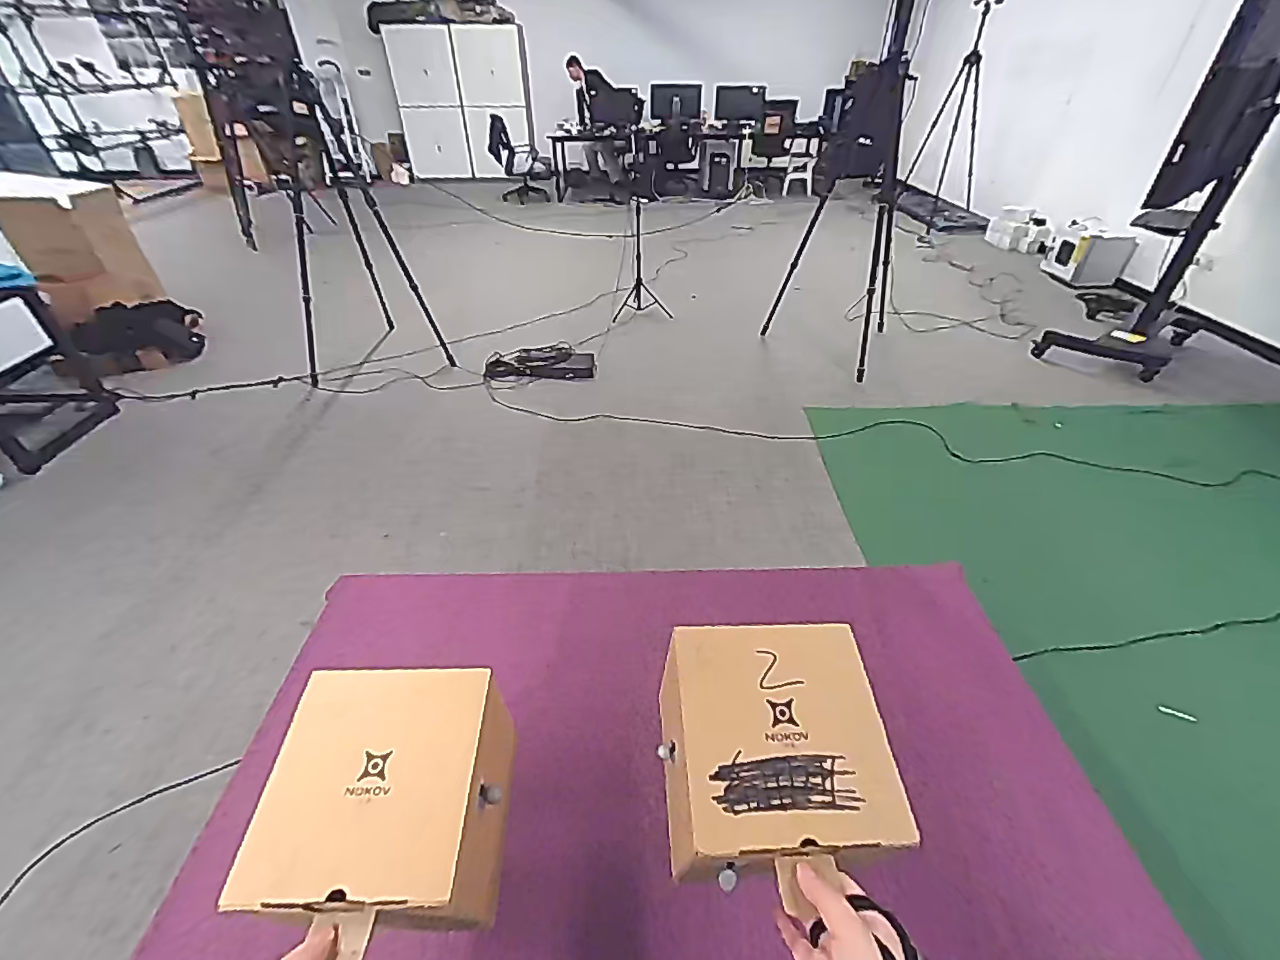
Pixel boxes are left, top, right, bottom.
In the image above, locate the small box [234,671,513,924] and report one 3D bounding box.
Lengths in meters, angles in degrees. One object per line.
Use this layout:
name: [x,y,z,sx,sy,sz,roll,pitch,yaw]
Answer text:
small box: [-0.222,0.301,0.513,0.168,0.176,0.179,0,47,-1]
